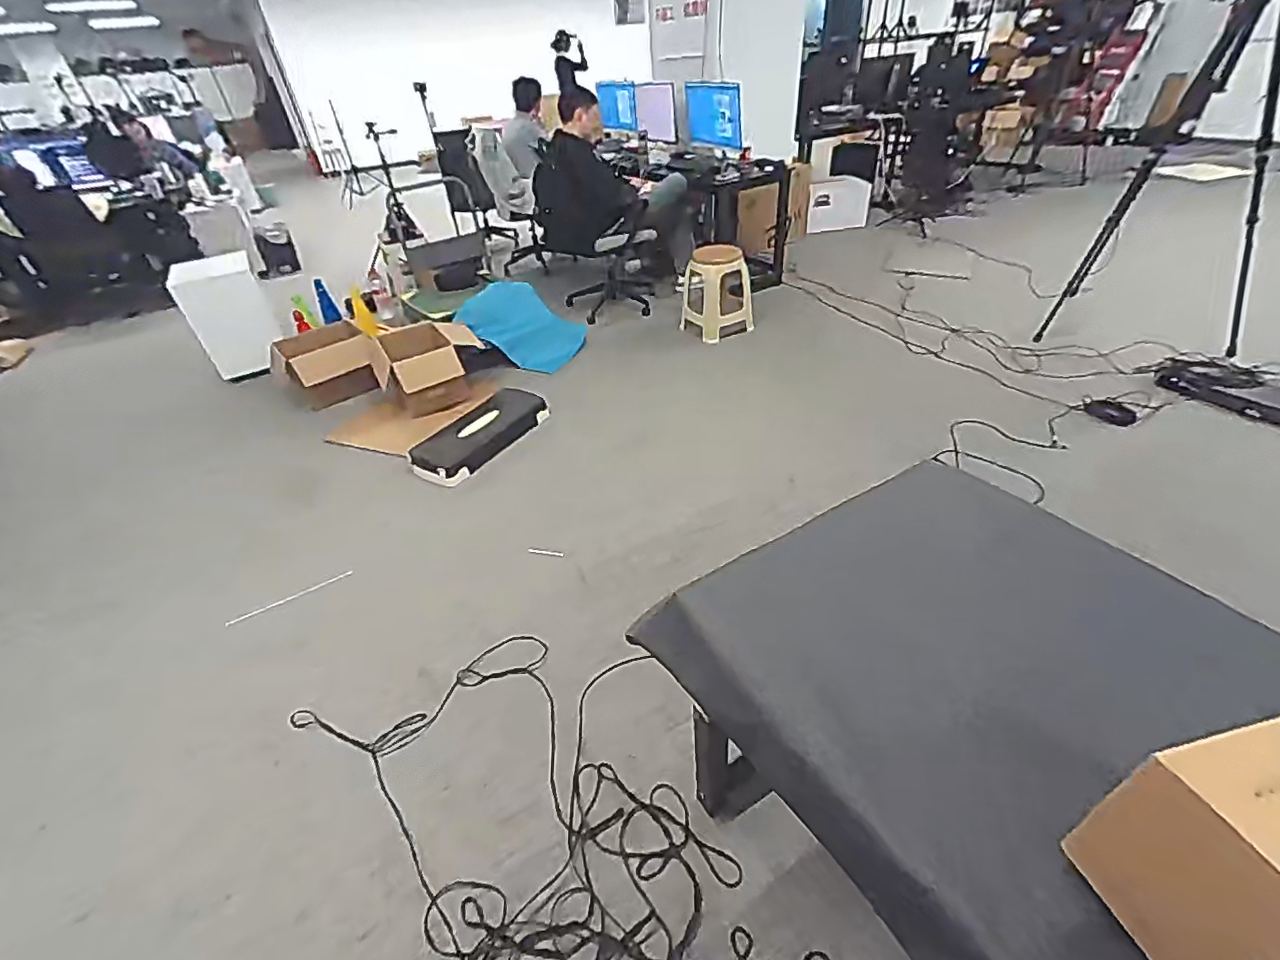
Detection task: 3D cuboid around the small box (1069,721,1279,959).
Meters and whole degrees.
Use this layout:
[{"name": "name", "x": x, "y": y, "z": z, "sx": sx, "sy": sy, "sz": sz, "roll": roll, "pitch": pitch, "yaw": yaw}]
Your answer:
[{"name": "small box", "x": 0.516, "y": 0.335, "z": 0.438, "sx": 0.168, "sy": 0.176, "sz": 0.179, "roll": -7, "pitch": 35, "yaw": -13}]
